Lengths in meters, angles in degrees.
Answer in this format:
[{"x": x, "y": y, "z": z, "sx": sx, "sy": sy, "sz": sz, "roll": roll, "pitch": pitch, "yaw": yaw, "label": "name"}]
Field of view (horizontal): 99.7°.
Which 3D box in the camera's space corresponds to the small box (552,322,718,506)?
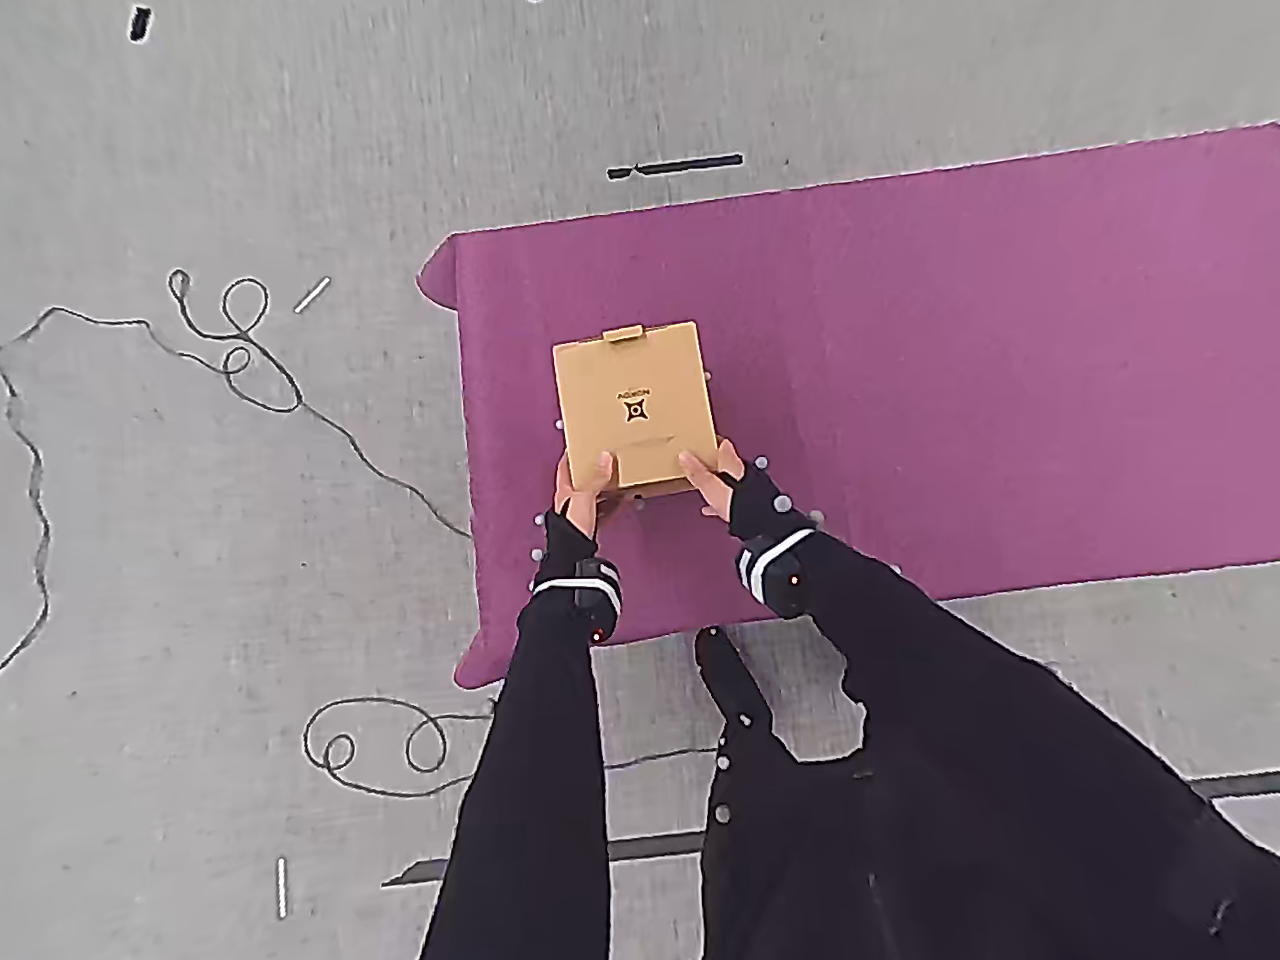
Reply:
[{"x": -0.005, "y": -0.070, "z": 0.668, "sx": 0.168, "sy": 0.176, "sz": 0.179, "roll": -9, "pitch": 83, "yaw": 2, "label": "small box"}]
